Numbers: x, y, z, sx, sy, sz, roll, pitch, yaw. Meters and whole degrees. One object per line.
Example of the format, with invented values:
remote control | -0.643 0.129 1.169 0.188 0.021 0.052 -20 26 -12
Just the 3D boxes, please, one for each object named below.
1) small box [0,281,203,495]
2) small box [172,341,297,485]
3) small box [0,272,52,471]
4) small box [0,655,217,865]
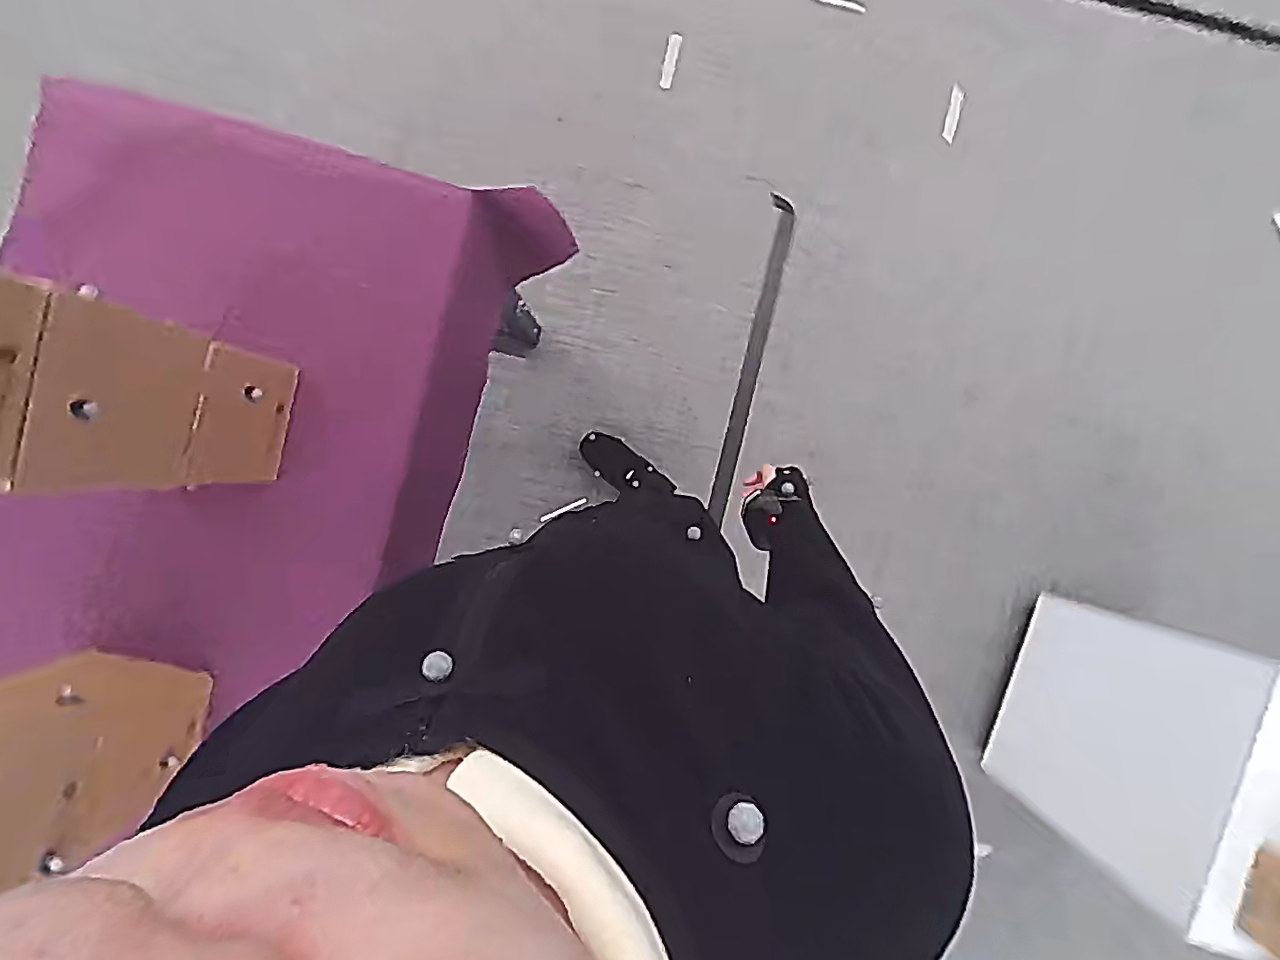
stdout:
small box | -0.569 -0.090 0.515 0.168 0.176 0.179 12 90 -2
small box | -0.575 -0.095 0.679 0.179 0.176 0.168 13 91 -1
small box | -0.569 -0.093 0.351 0.179 0.176 0.168 13 91 -1
small box | -0.699 0.337 0.687 0.179 0.176 0.168 12 91 -2
